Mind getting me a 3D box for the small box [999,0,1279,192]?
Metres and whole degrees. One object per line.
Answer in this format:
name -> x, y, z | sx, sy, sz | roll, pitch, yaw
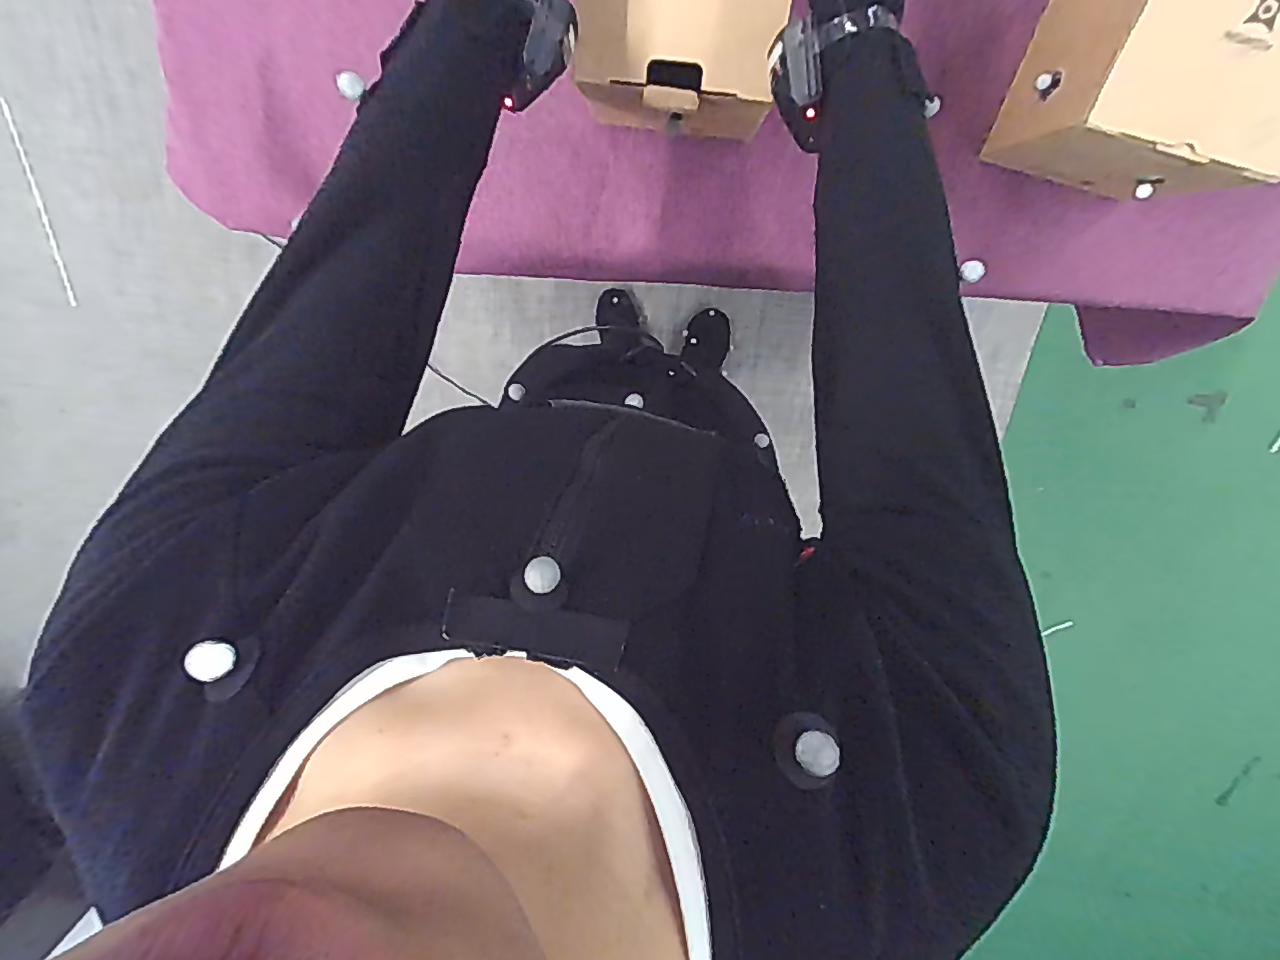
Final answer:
small box -> 0.445, -0.358, 0.450 | 0.168, 0.176, 0.179 | 16, 114, -1
